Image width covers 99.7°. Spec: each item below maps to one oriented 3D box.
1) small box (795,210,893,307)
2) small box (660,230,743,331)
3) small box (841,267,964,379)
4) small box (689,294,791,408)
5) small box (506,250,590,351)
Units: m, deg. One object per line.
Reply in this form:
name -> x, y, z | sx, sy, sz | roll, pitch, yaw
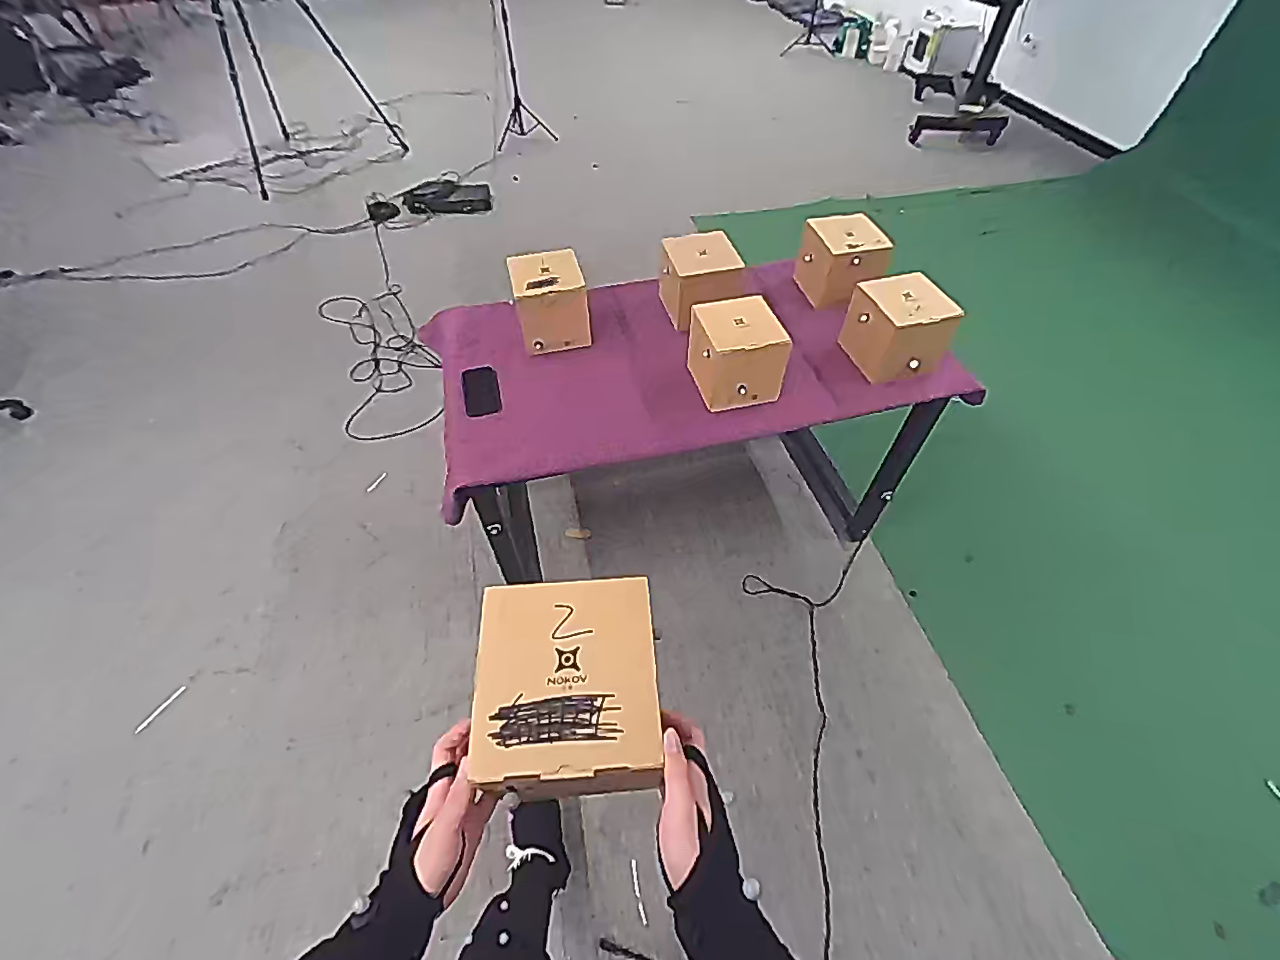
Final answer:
small box -> 0.529, -0.587, 1.436 | 0.168, 0.176, 0.179 | -11, 52, -6
small box -> 0.148, -0.511, 1.388 | 0.168, 0.176, 0.179 | -12, 53, -7
small box -> 0.595, -0.362, 1.255 | 0.168, 0.176, 0.179 | -13, 53, -7
small box -> 0.212, -0.287, 1.211 | 0.168, 0.176, 0.179 | -12, 52, -8
small box -> -0.224, -0.435, 1.332 | 0.168, 0.176, 0.179 | -12, 53, -8
